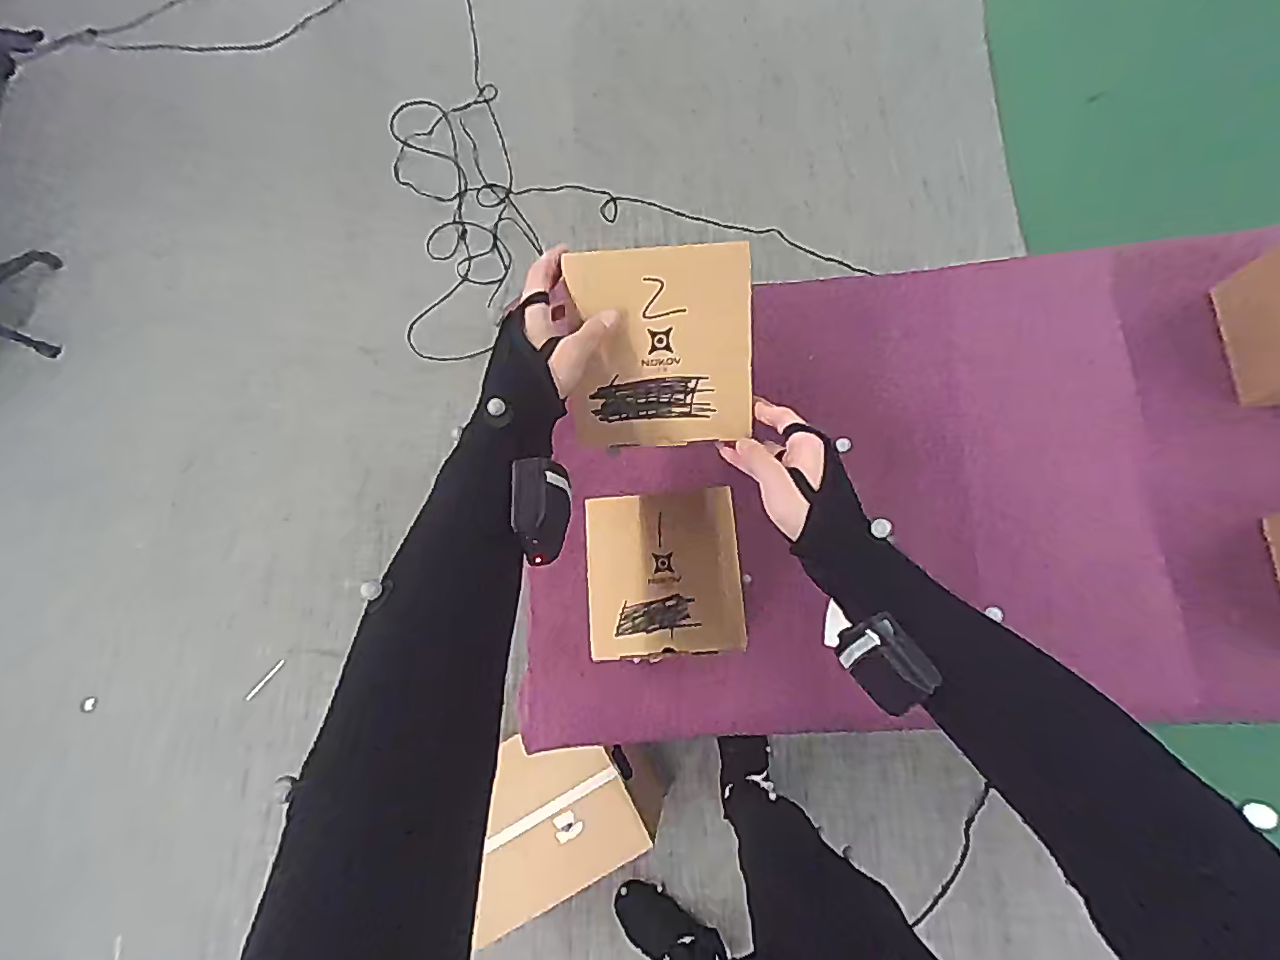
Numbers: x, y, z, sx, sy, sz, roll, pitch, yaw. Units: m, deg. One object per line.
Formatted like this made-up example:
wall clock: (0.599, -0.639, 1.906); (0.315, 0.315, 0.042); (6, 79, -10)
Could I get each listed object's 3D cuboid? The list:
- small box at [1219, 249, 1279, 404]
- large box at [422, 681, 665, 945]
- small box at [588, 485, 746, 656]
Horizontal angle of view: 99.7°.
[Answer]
small box: (0.849, -0.202, 0.632); (0.168, 0.176, 0.179); (-2, 77, 9)
large box: (-0.196, 0.709, 1.226); (0.408, 0.320, 0.320); (-30, 75, -2)
small box: (0.036, 0.115, 0.658); (0.168, 0.176, 0.179); (-5, 74, 5)
